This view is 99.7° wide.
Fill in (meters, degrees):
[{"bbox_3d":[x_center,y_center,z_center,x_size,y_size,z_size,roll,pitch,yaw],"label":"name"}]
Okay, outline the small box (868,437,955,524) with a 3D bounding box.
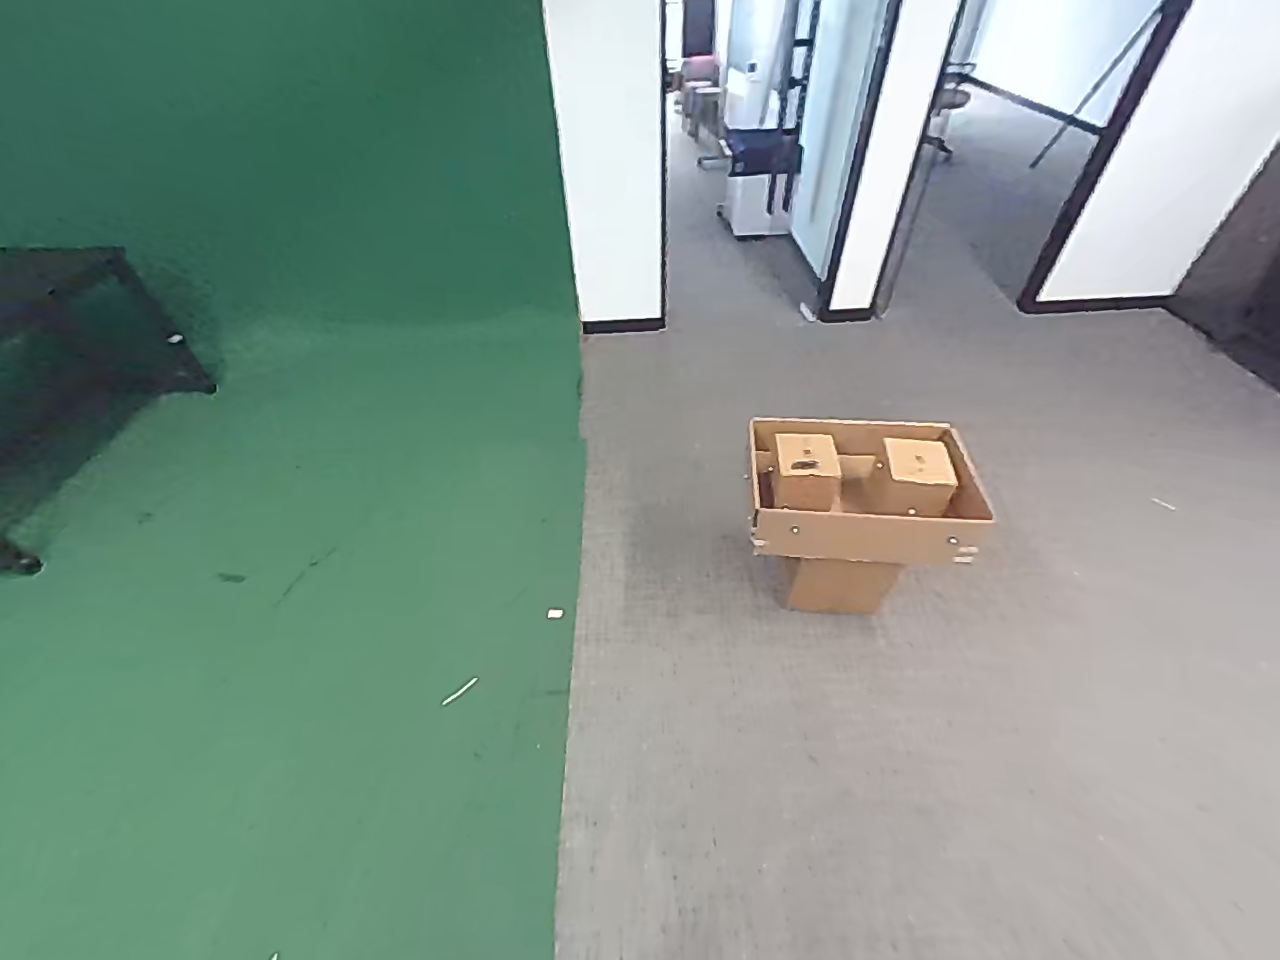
[{"bbox_3d":[0.770,0.001,1.555,0.168,0.176,0.179,6,47,8],"label":"small box"}]
